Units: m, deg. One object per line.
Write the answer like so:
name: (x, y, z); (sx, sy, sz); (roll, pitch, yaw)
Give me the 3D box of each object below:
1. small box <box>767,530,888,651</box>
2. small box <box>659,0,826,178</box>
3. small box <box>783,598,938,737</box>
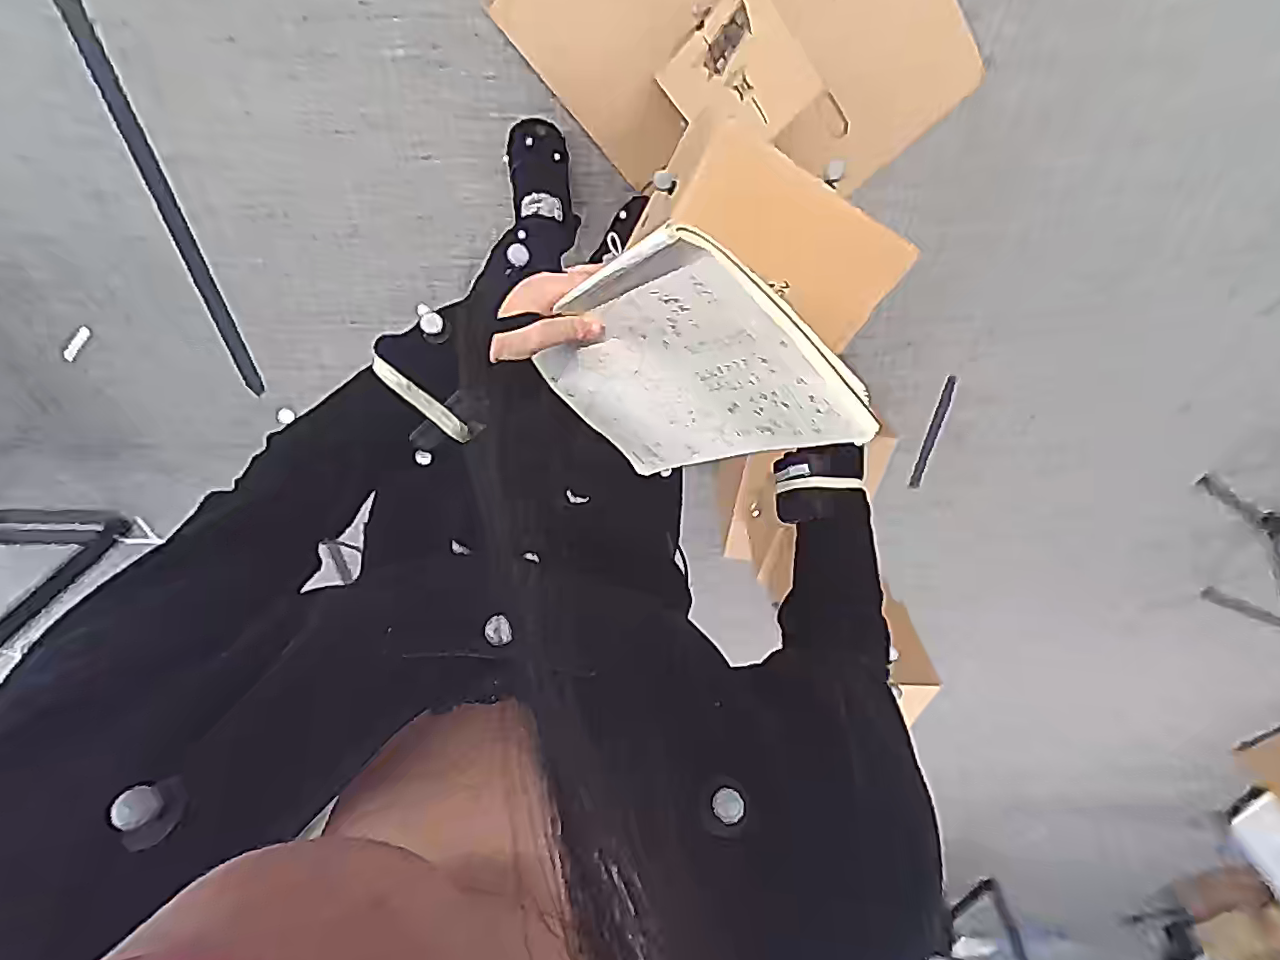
small box: (0.356, 0.221, 1.067); (0.168, 0.176, 0.179); (3, 127, -2)
small box: (0.142, -0.594, 0.804); (0.168, 0.176, 0.179); (-36, 121, 27)
small box: (0.366, 0.322, 0.937); (0.179, 0.176, 0.168); (5, 128, -3)
